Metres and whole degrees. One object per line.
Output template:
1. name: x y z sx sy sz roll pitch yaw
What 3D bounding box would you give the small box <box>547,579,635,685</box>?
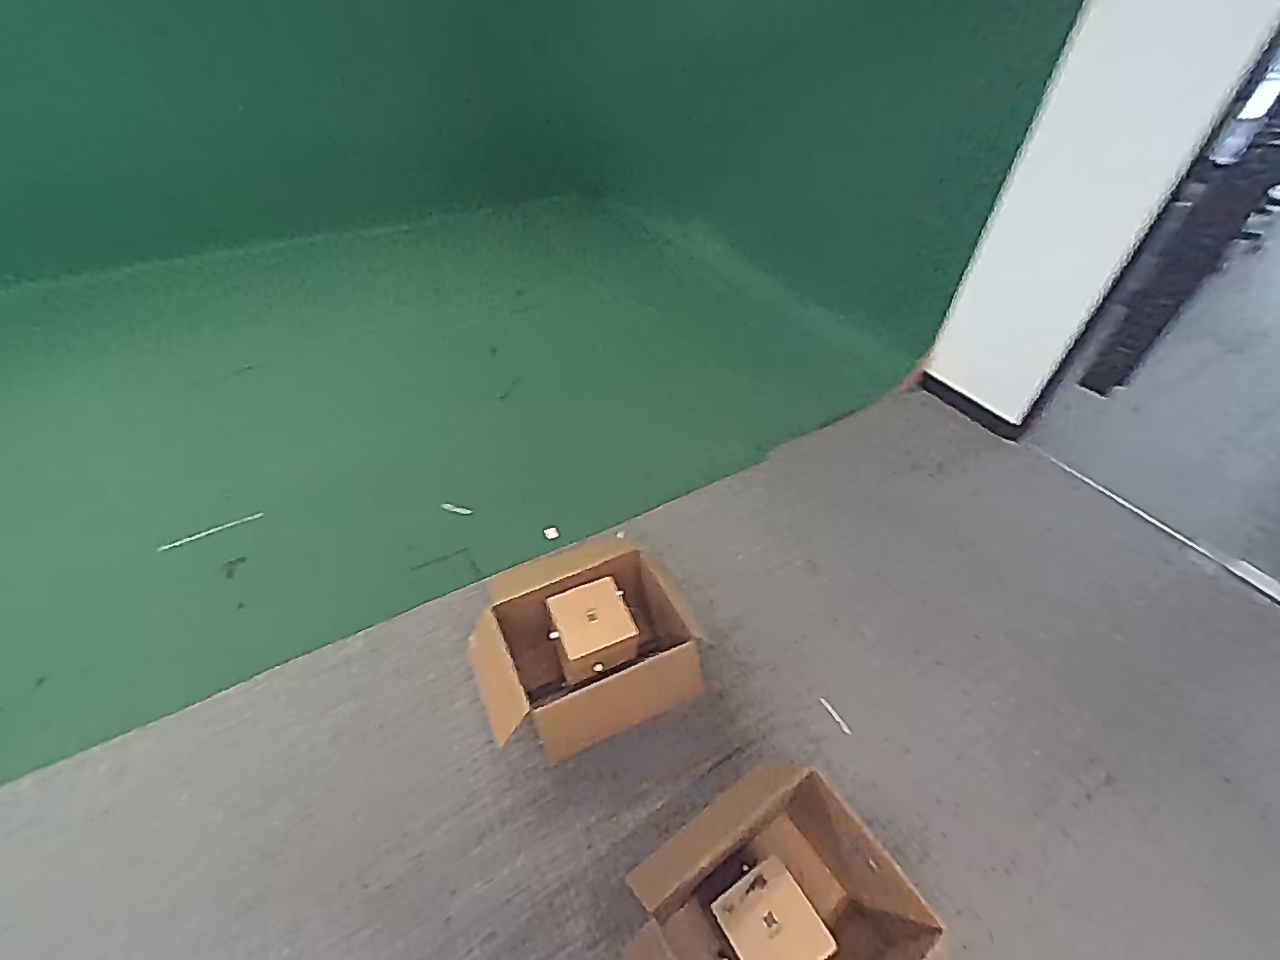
1. small box: -0.120 0.383 1.337 0.168 0.176 0.179 -17 49 -18
